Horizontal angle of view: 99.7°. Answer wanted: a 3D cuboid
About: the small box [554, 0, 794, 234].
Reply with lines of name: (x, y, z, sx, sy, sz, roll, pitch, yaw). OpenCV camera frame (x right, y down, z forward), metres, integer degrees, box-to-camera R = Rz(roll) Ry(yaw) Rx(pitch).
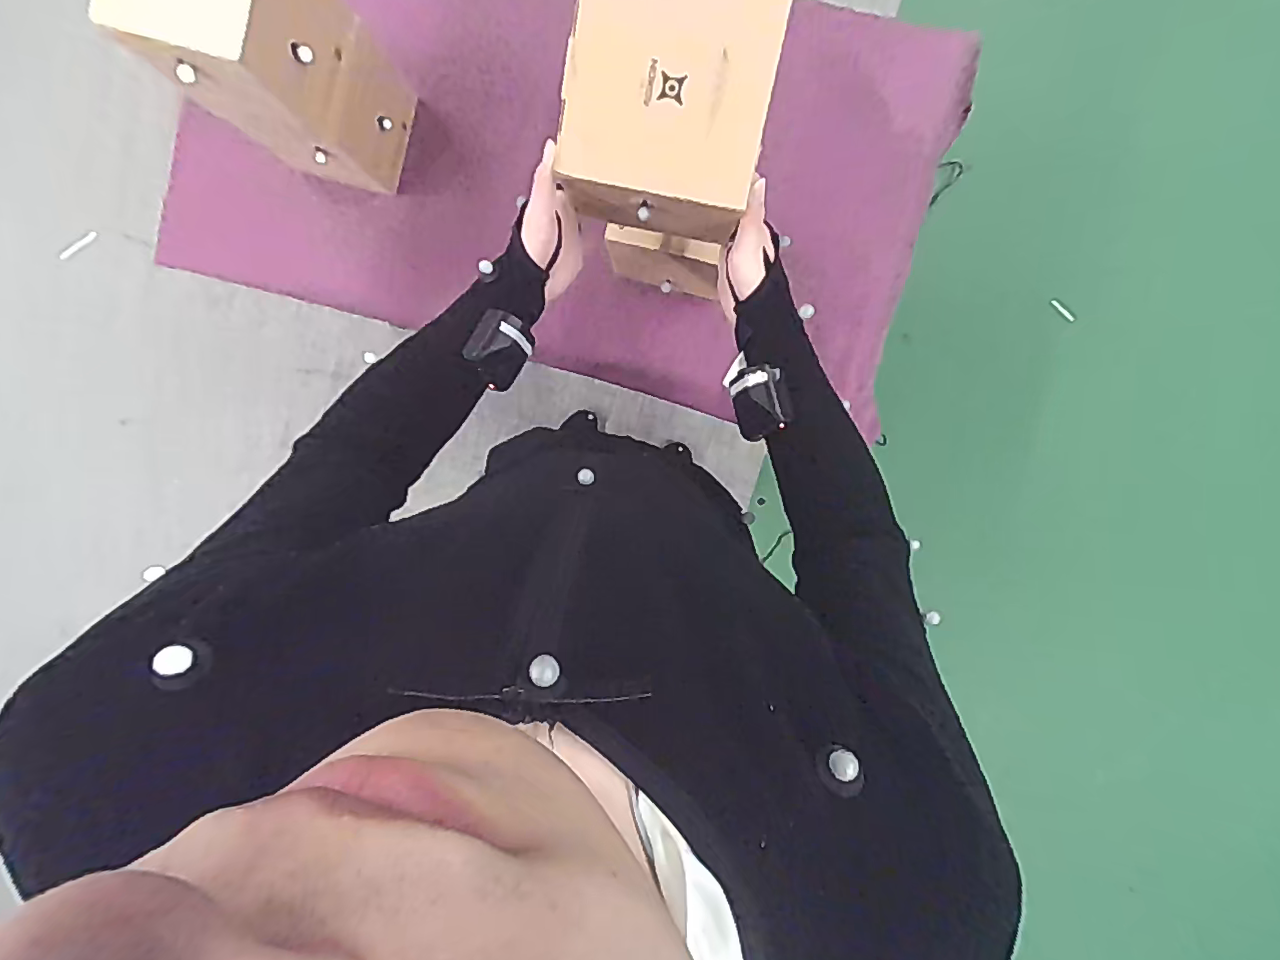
small box: (0.030, -0.355, 0.531, 0.179, 0.176, 0.168, 12, 105, 0)

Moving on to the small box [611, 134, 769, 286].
small box: (0.069, -0.397, 0.789, 0.179, 0.176, 0.168, 15, 96, 2)
